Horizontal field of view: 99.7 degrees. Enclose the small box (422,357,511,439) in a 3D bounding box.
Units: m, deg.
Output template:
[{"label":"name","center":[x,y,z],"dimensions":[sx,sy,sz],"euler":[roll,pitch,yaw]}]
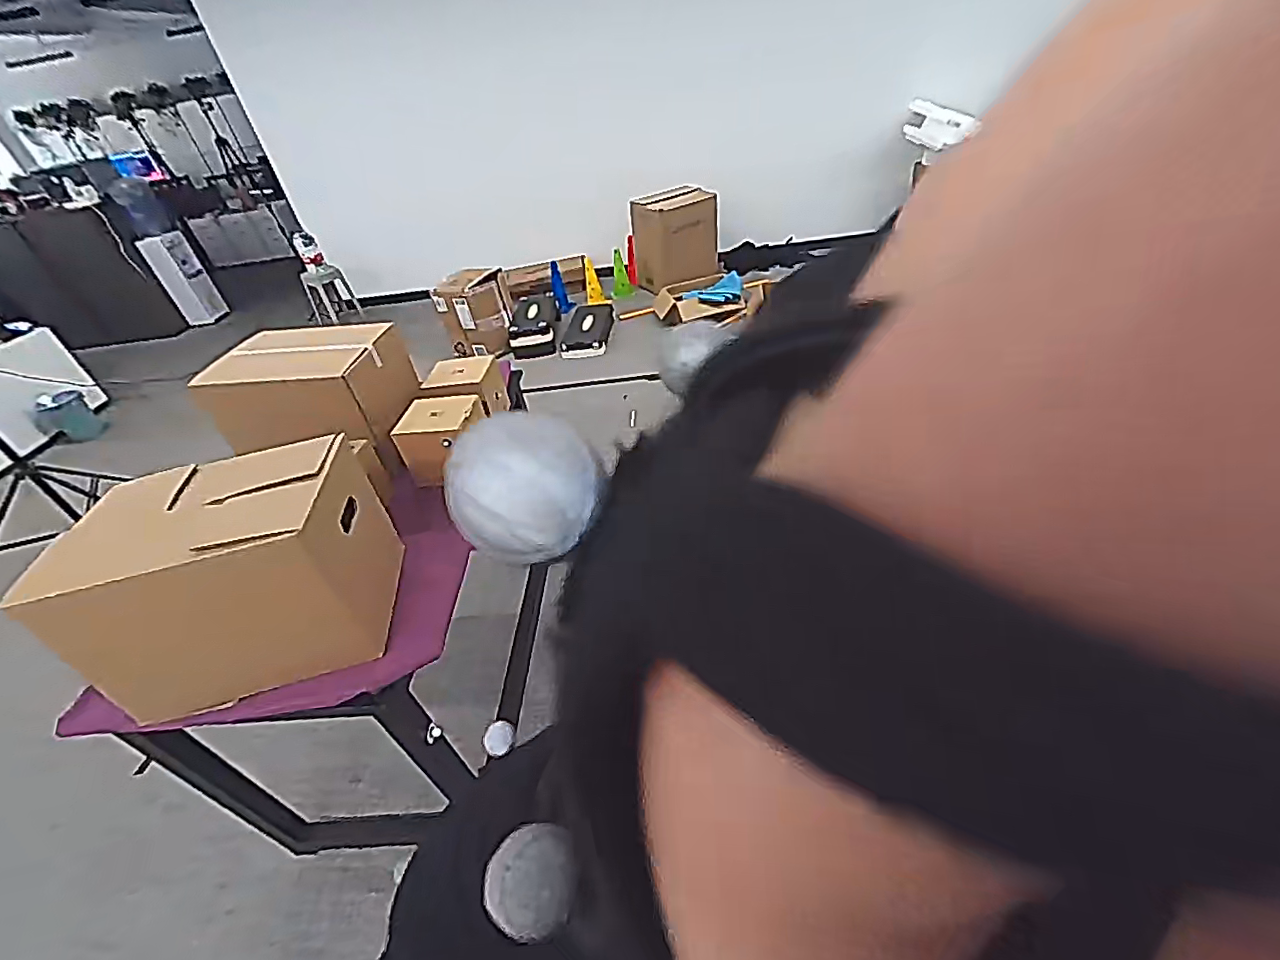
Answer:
[{"label":"small box","center":[-0.490,-0.235,1.561],"dimensions":[0.179,0.176,0.168],"euler":[-5,37,7]}]
